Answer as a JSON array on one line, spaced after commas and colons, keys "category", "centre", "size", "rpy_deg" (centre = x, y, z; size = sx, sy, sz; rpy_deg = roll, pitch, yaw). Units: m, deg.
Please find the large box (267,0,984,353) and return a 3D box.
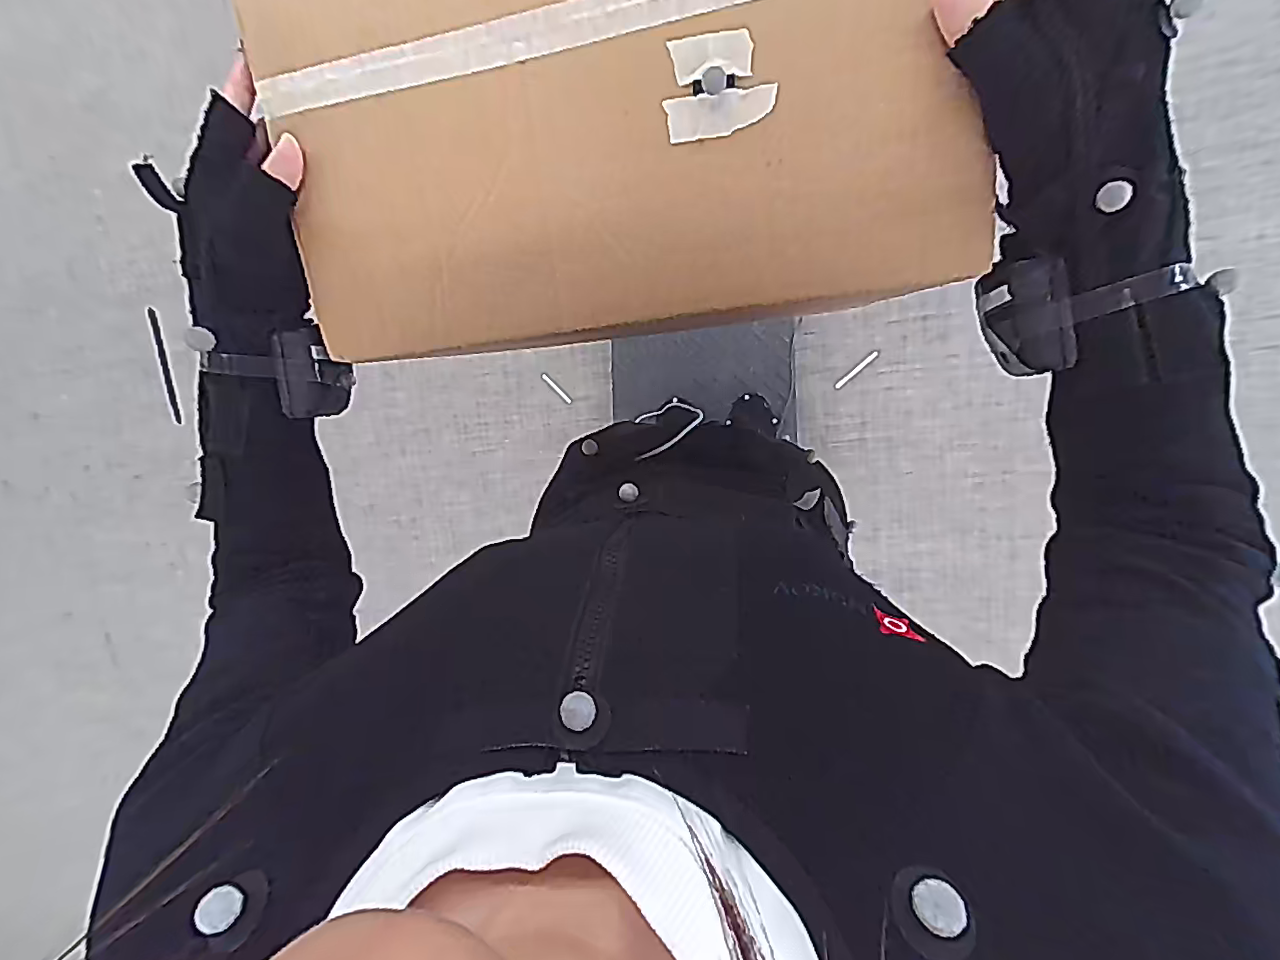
[{"category": "large box", "centre": [-0.003, -0.291, 0.444], "size": [0.408, 0.320, 0.320], "rpy_deg": [-5, 105, 10]}]
